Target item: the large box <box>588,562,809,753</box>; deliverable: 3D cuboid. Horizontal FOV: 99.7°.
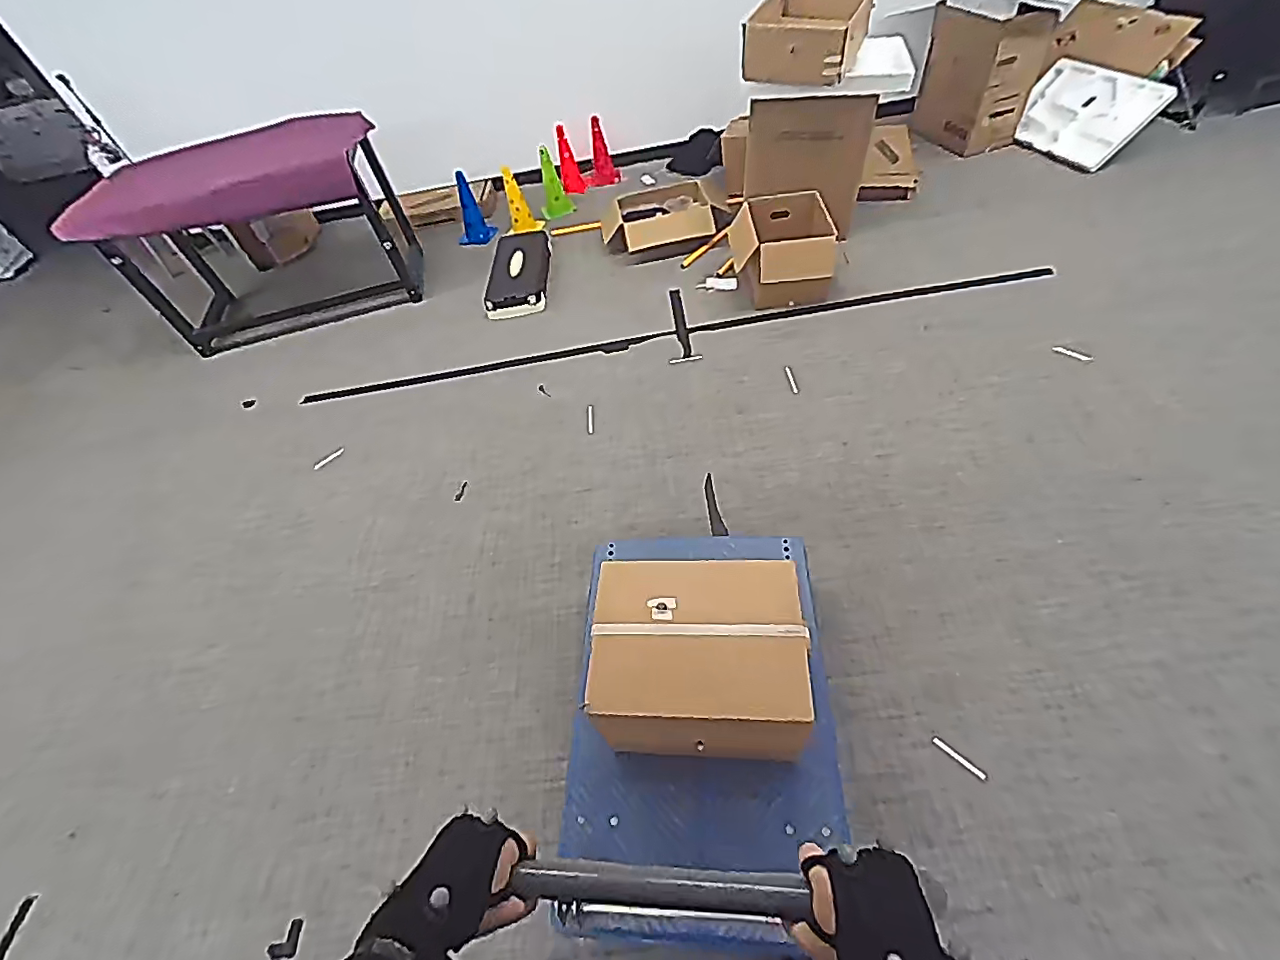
[{"bbox_3d":[0.130,0.392,1.171,0.408,0.320,0.320,-3,51,9],"label":"large box"}]
